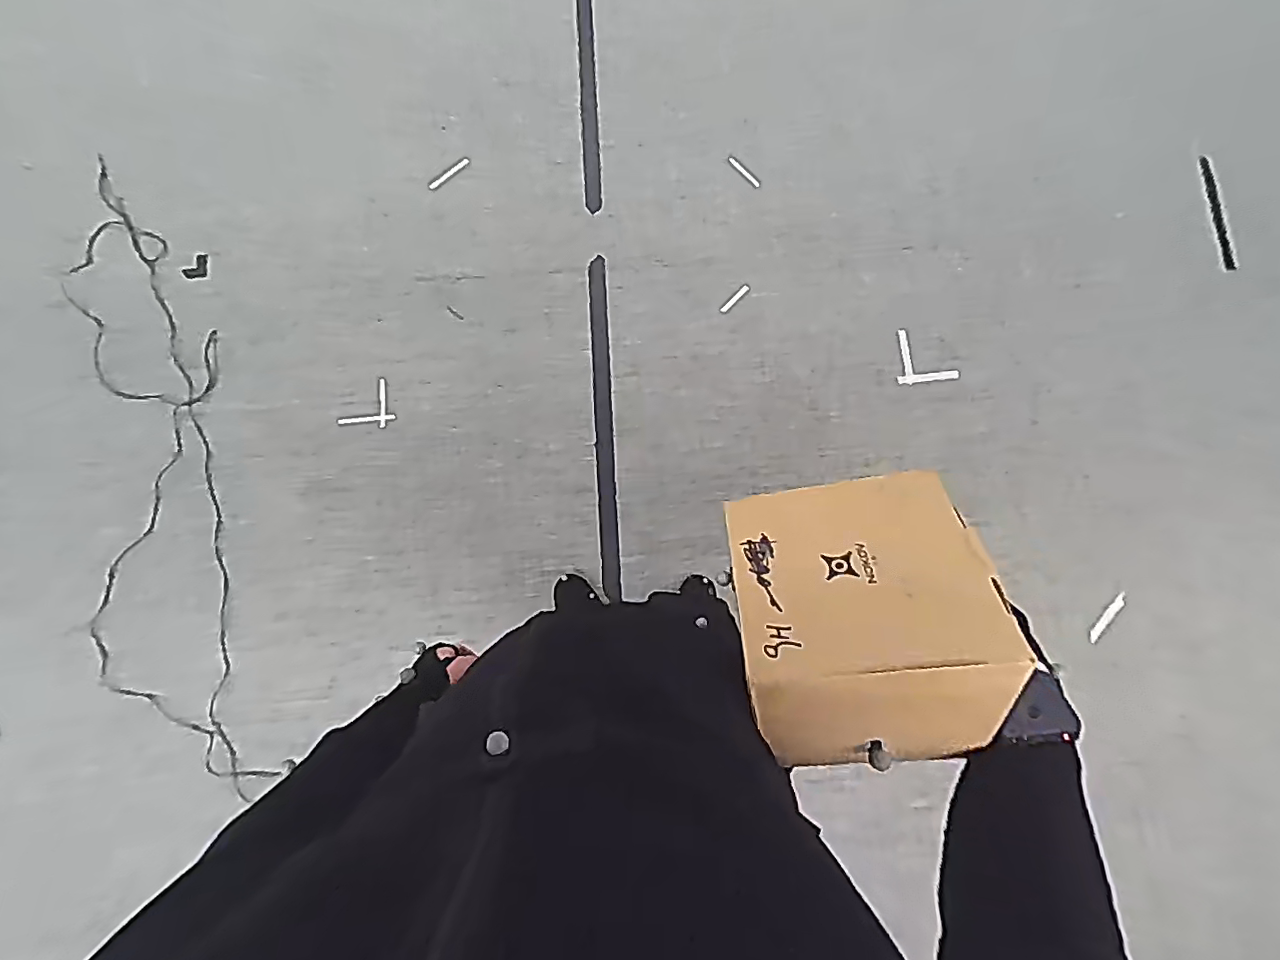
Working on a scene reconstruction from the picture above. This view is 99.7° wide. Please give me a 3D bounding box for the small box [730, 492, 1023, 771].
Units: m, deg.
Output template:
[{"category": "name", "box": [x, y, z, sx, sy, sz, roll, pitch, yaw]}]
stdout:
[{"category": "small box", "box": [0.179, 0.135, 0.468, 0.179, 0.176, 0.168, -9, 43, 9]}]
